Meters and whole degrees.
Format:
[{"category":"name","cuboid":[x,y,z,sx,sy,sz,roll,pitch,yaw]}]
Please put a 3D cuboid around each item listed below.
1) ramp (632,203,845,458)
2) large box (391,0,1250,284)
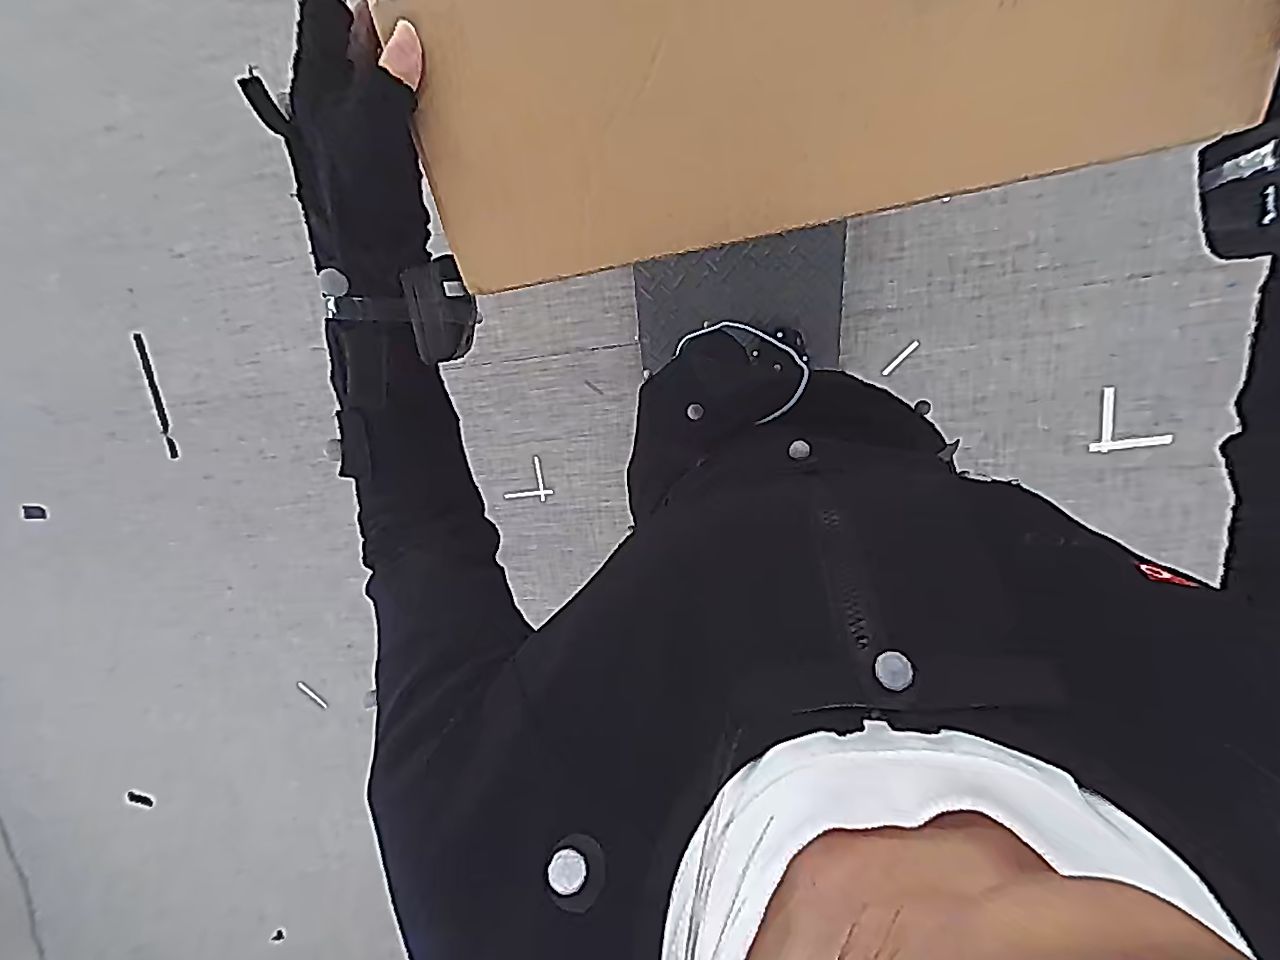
[{"category":"ramp","cuboid":[0.223,-0.519,1.269,0.509,0.206,0.991,-4,106,10]},{"category":"large box","cuboid":[0.077,-0.353,0.371,0.408,0.320,0.320,-8,116,12]}]
